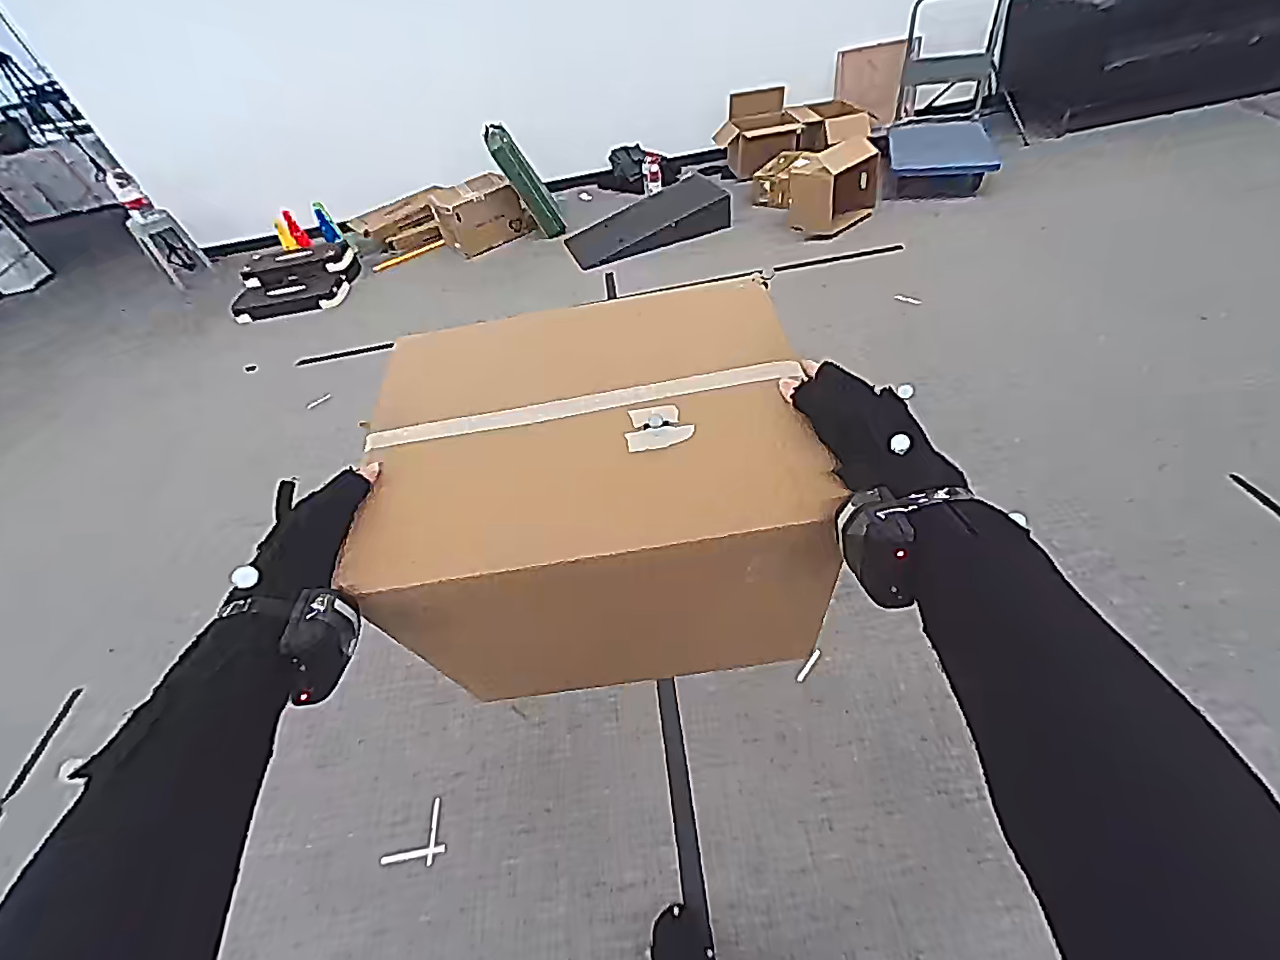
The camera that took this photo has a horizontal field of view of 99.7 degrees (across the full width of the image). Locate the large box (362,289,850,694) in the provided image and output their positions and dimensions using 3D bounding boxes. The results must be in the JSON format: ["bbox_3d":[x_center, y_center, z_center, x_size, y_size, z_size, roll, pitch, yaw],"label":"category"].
[{"bbox_3d":[-0.029,0.026,0.634,0.408,0.320,0.320,-9,53,2],"label":"large box"}]
